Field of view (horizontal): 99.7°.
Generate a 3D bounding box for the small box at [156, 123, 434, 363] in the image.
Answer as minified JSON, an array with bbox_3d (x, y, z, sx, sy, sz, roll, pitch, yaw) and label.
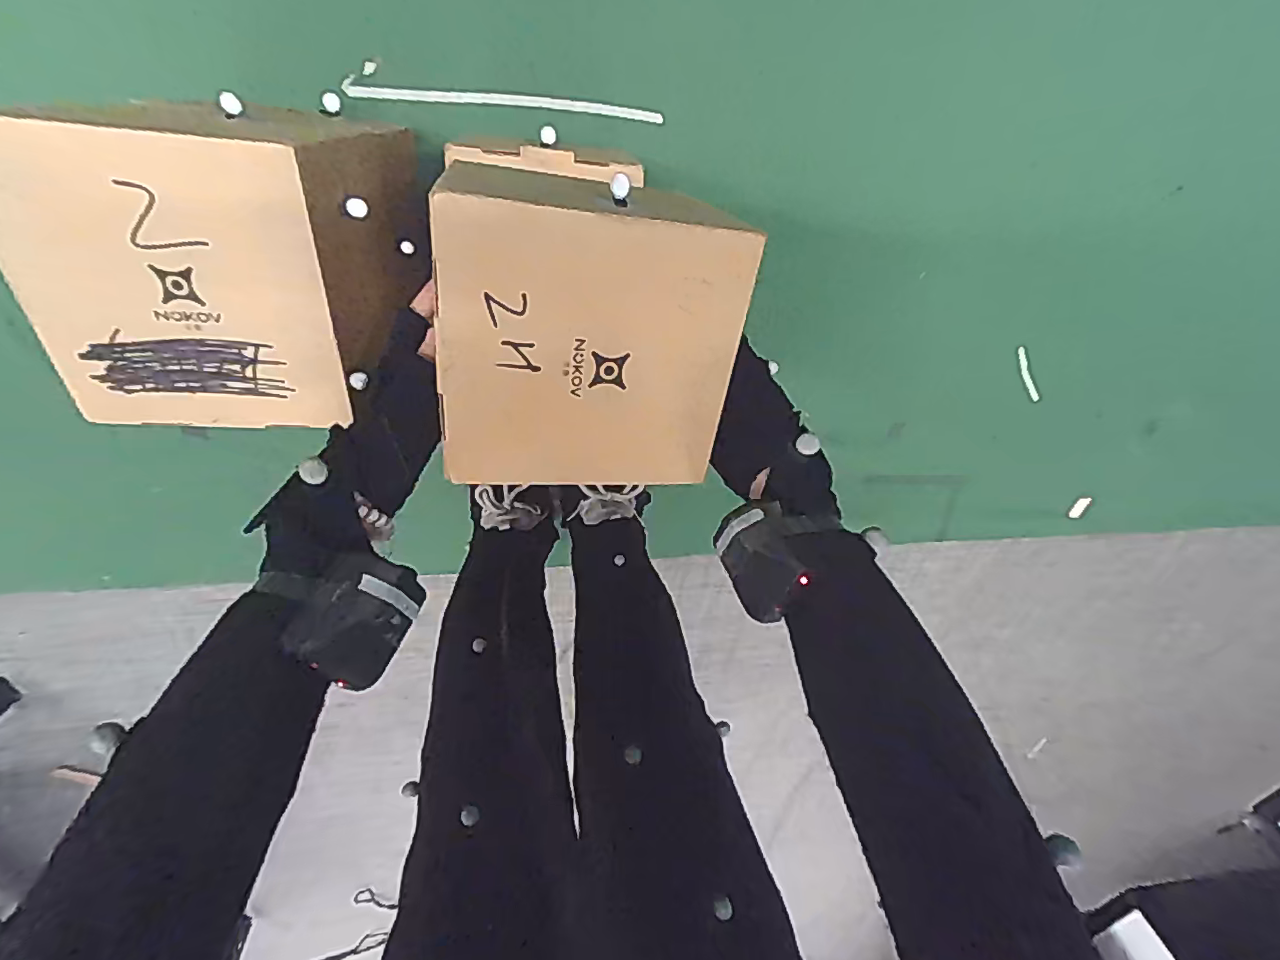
[{"bbox_3d":[-0.307,-0.235,0.533,0.168,0.176,0.179,2,124,-11],"label":"small box"}]
